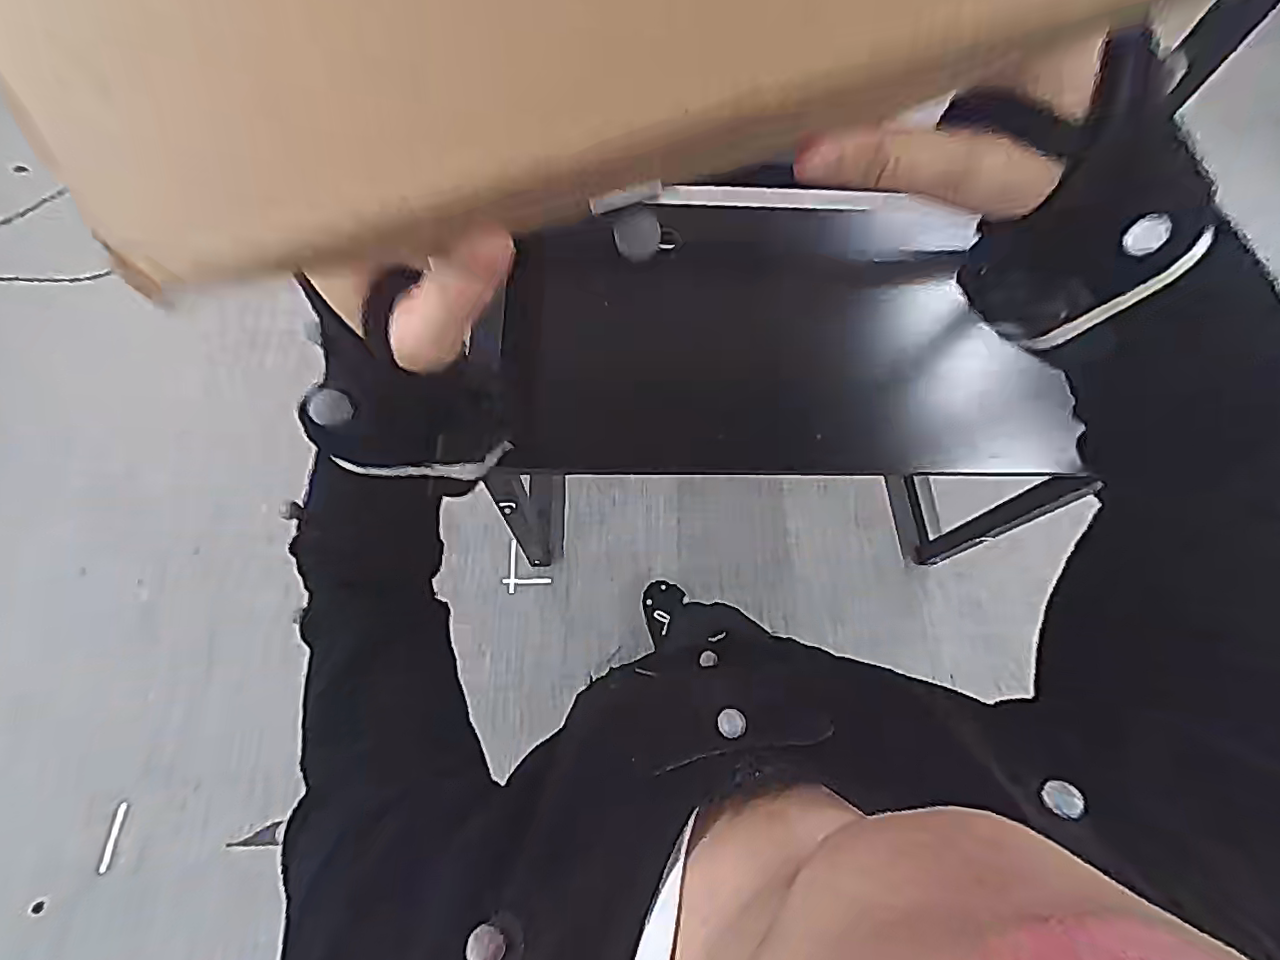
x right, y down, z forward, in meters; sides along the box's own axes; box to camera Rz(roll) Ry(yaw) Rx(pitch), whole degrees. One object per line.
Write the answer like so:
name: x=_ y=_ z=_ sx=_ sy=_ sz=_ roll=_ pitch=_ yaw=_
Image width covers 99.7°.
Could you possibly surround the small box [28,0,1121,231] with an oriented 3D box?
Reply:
small box: x=-0.009 y=-0.161 z=0.105 sx=0.168 sy=0.179 sz=0.176 roll=-15 pitch=25 yaw=4
